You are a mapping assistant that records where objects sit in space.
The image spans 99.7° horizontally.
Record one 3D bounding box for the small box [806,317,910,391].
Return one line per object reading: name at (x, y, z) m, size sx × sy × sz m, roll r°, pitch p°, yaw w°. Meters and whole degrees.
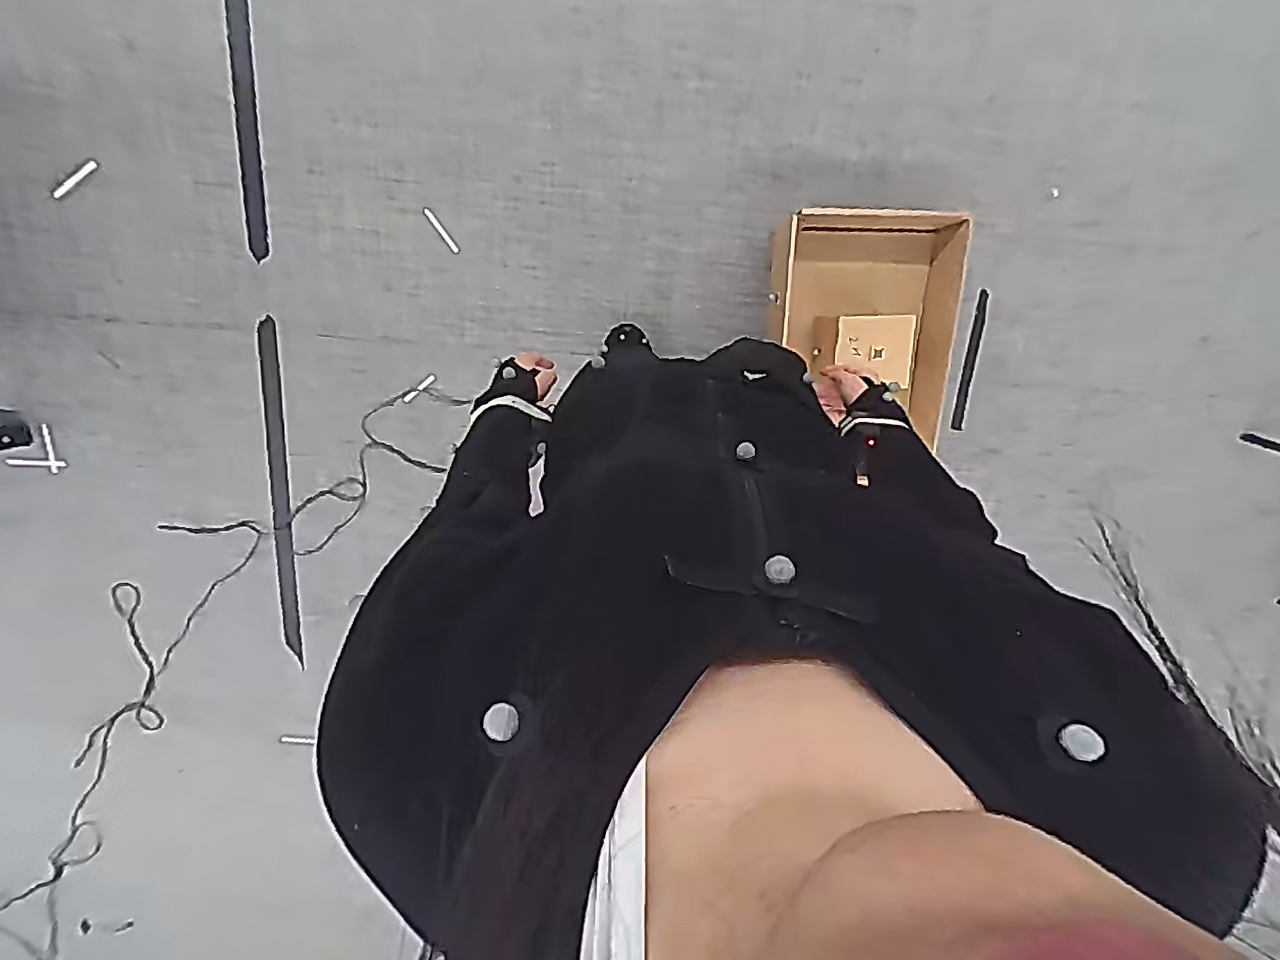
small box at (0.518, -0.306, 1.305) m, size 0.179 × 0.176 × 0.168 m, roll -2°, pitch 105°, yaw -1°
